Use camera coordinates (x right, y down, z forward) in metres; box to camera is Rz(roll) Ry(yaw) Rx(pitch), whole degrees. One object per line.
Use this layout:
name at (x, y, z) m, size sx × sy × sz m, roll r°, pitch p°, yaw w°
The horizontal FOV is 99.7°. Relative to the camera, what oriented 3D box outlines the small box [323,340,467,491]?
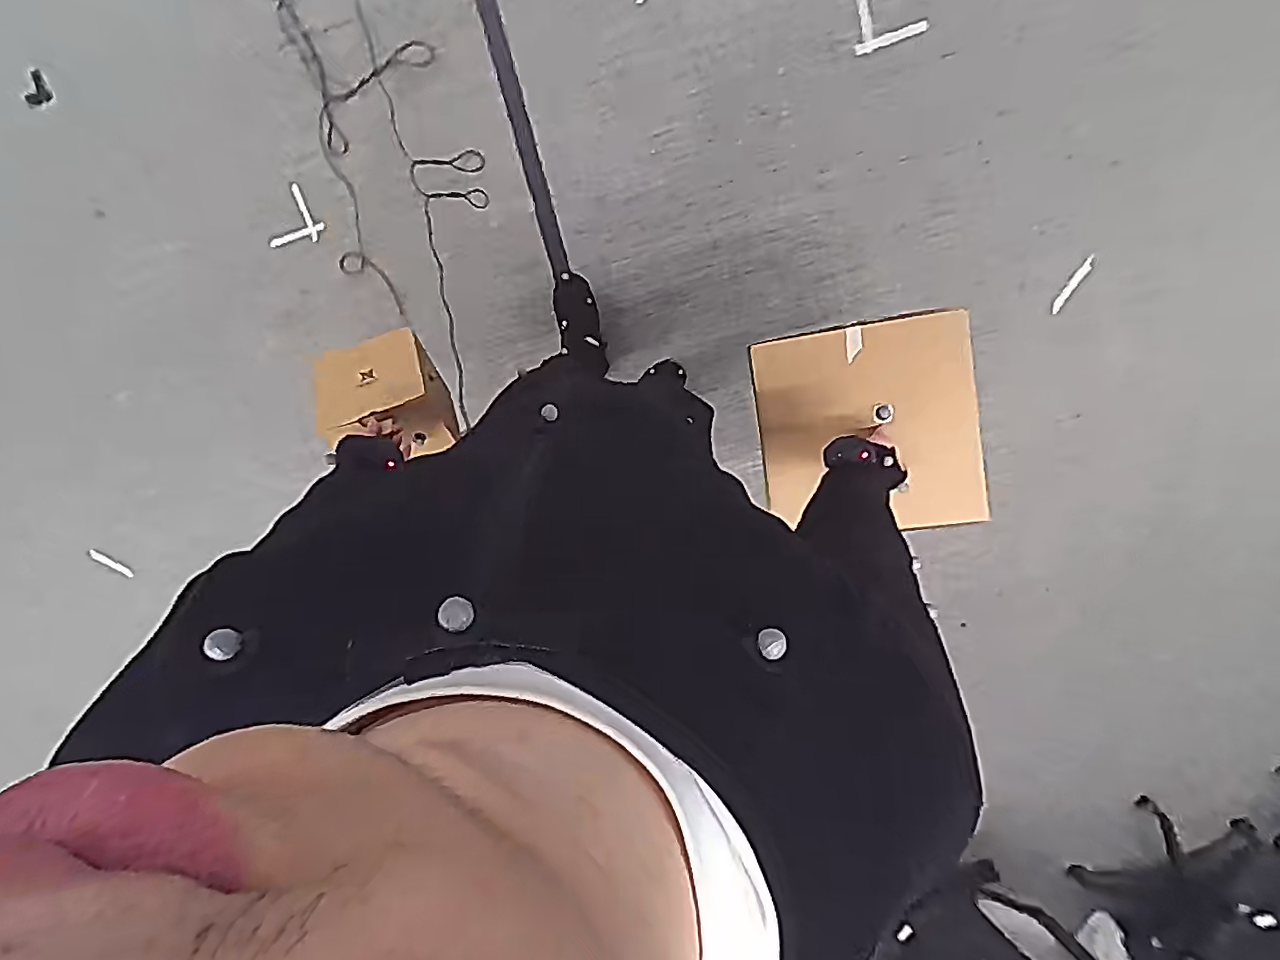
small box at (-0.416, -0.102, 0.932) m, size 0.168 × 0.179 × 0.176 m, roll -21°, pitch 144°, yaw -7°
